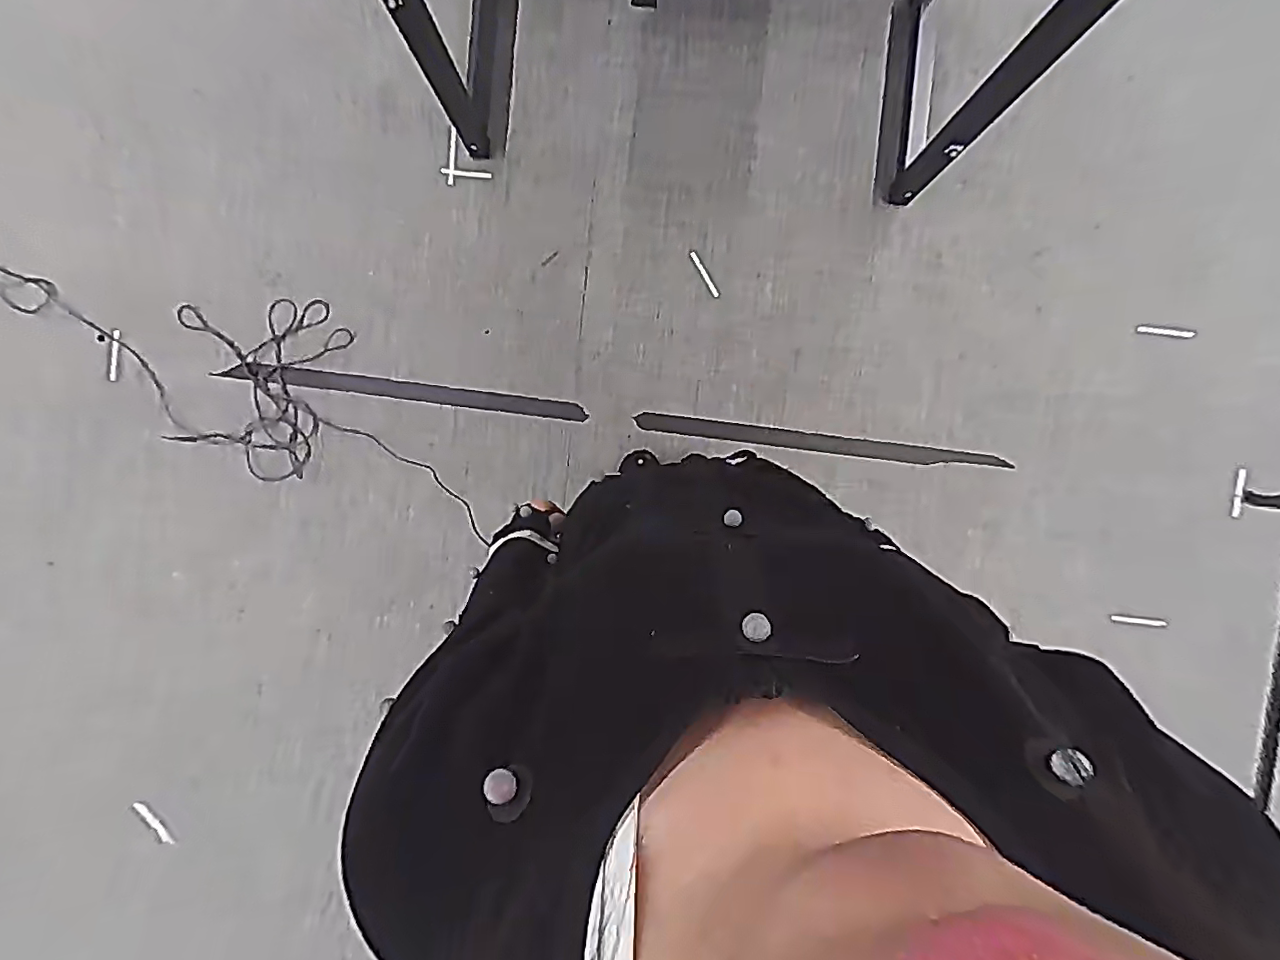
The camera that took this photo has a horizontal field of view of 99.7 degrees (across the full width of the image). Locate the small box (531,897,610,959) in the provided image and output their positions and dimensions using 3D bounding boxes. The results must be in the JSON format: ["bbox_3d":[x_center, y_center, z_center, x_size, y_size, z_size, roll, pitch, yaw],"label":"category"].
[{"bbox_3d":[-0.162,1.138,1.289,0.179,0.176,0.168,2,92,-1],"label":"small box"}]
